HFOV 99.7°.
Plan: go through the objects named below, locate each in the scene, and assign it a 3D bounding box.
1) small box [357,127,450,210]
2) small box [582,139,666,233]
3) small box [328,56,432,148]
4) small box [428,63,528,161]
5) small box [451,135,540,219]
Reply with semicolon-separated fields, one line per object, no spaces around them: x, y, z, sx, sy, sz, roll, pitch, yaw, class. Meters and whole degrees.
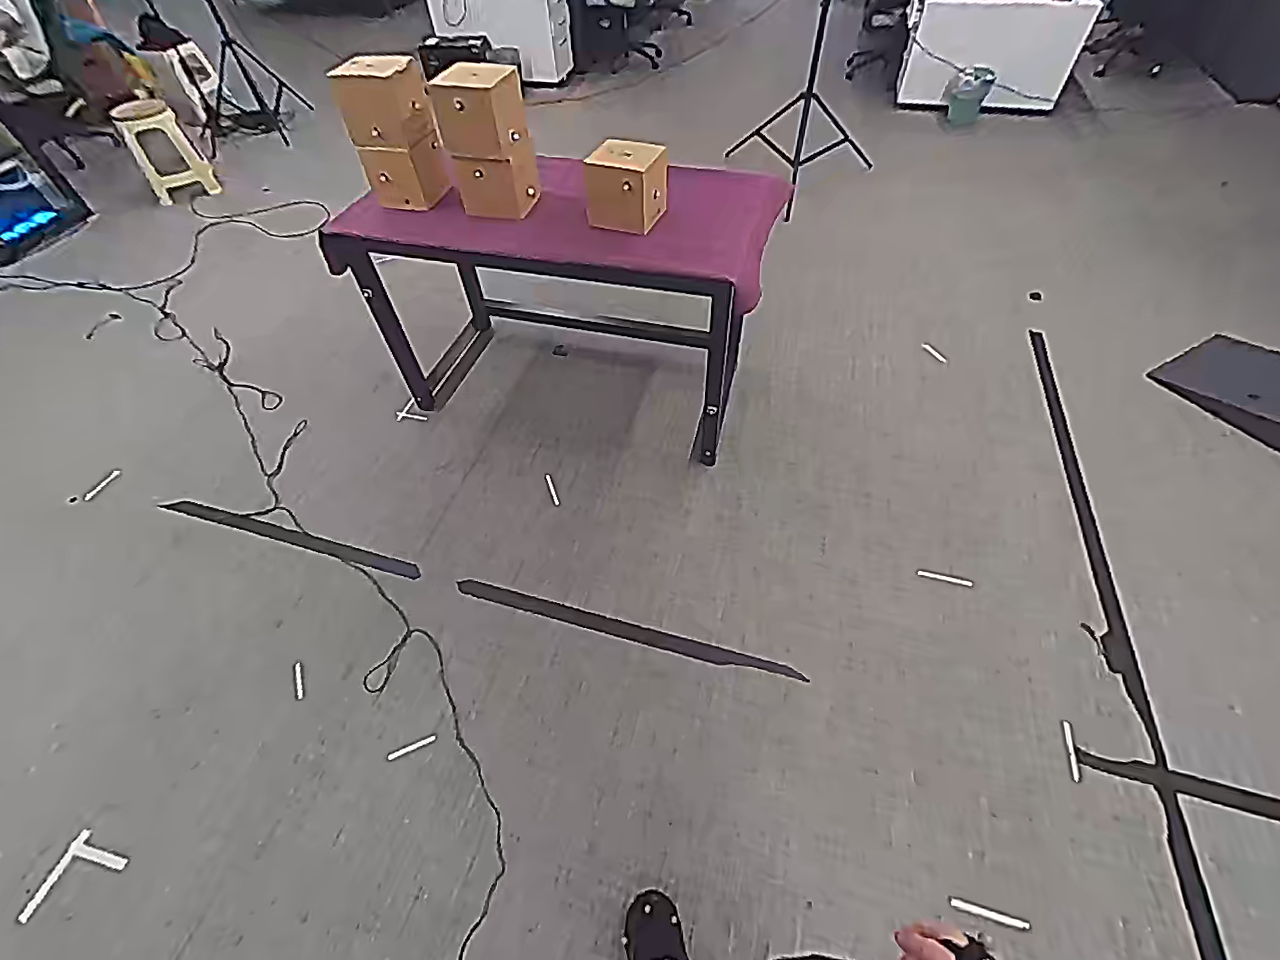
-0.691;-0.924;1.606;0.168;0.176;0.179;8;52;9;small box
-0.037;-0.801;1.478;0.179;0.176;0.168;17;54;15;small box
-0.700;-1.032;1.482;0.179;0.176;0.168;7;52;7;small box
-0.416;-0.962;1.417;0.179;0.176;0.168;12;55;10;small box
-0.406;-0.873;1.551;0.179;0.176;0.168;10;53;9;small box
